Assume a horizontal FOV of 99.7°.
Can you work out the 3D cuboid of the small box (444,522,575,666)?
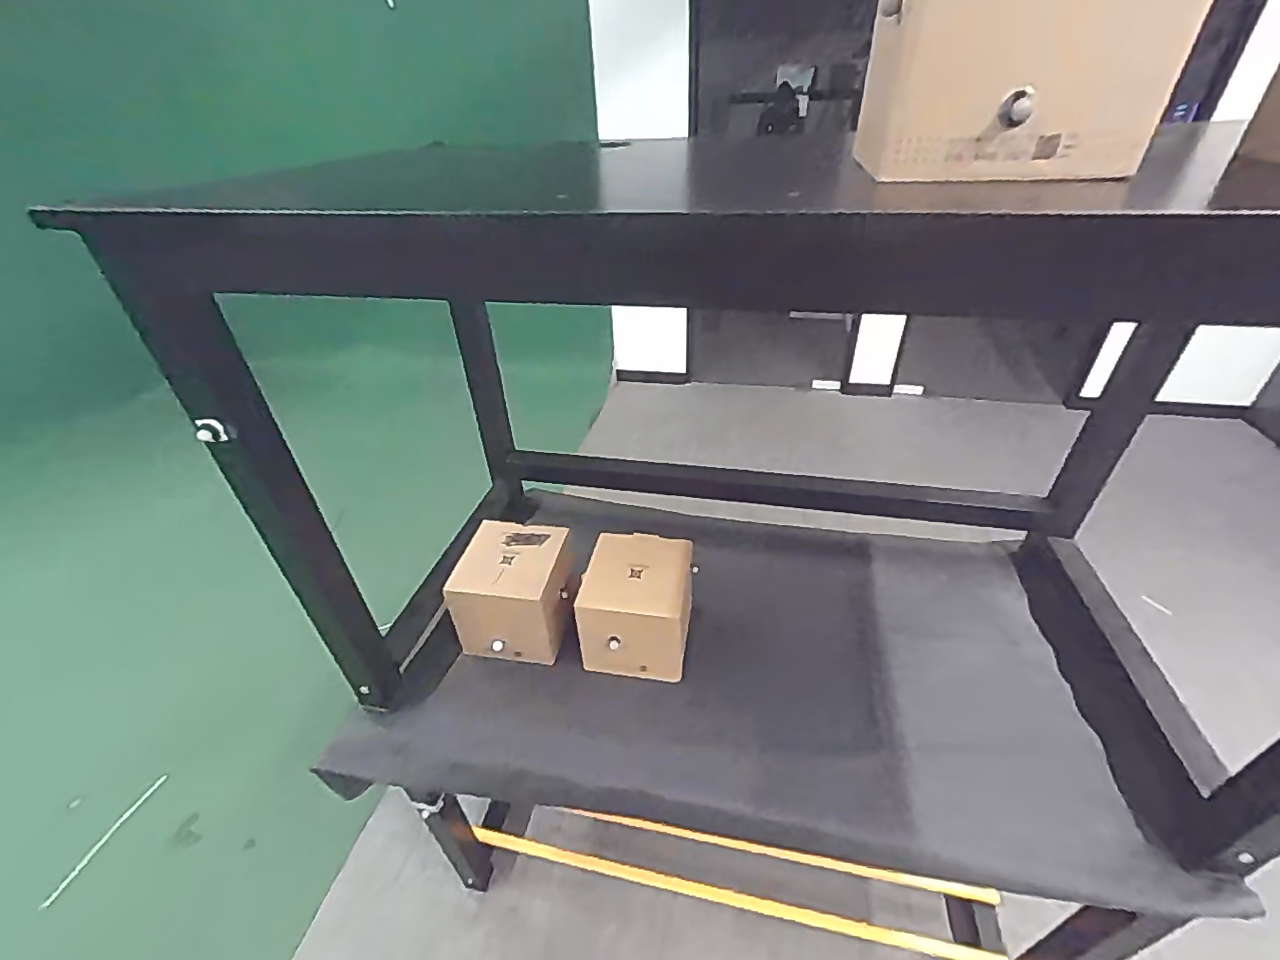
[{"bbox_3d":[-0.217,0.199,0.959,0.168,0.176,0.179,4,36,9],"label":"small box"}]

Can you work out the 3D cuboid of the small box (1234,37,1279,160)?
[{"bbox_3d":[0.518,-0.278,0.306,0.168,0.176,0.179,11,38,20],"label":"small box"}]
